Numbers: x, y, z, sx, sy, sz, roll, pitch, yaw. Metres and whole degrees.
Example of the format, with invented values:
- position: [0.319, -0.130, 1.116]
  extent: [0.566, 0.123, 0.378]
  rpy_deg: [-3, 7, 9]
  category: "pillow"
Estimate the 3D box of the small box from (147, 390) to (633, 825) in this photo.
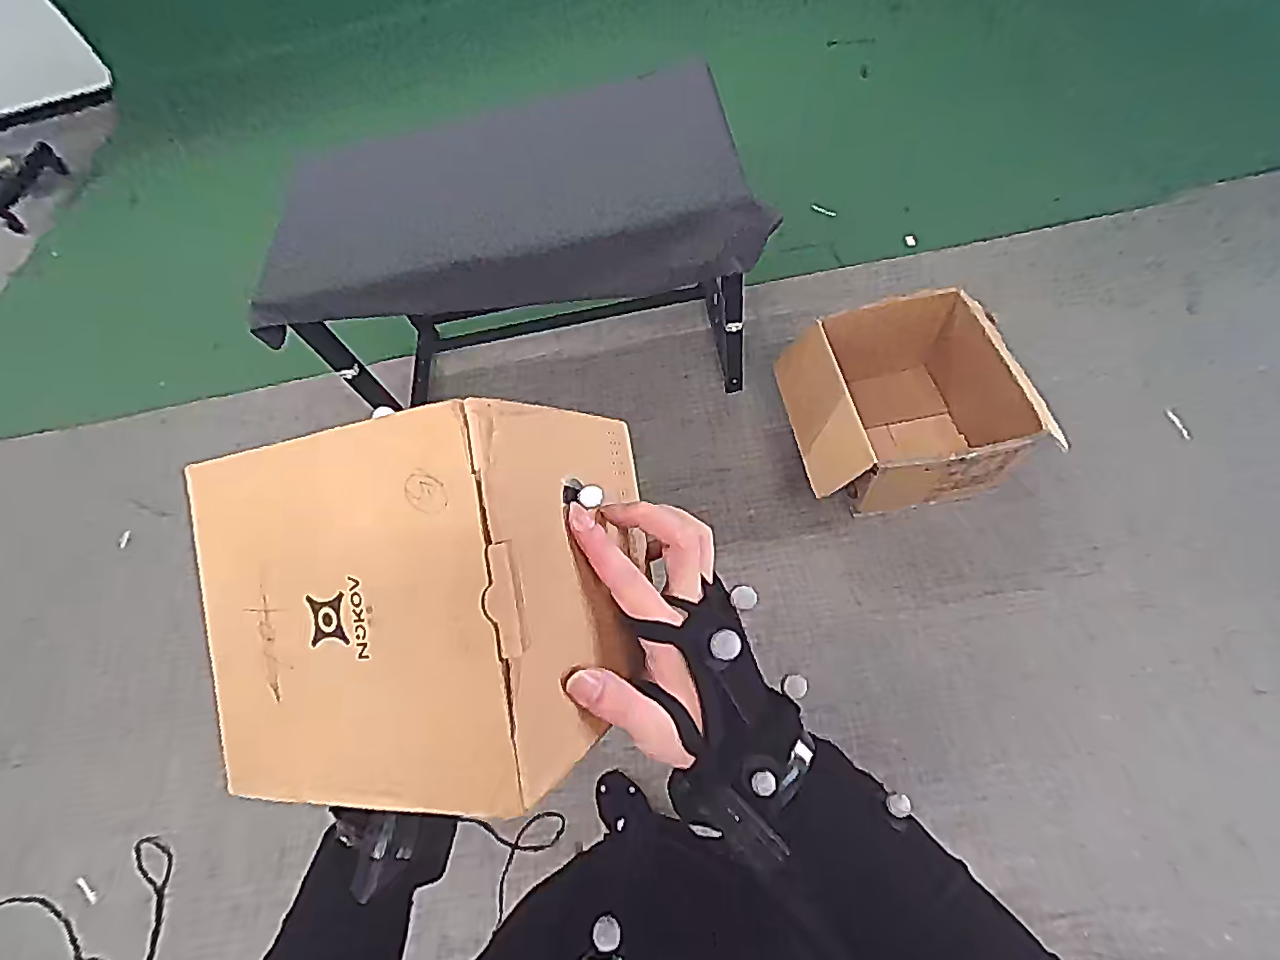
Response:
- position: [-0.114, 0.054, 0.301]
  extent: [0.179, 0.176, 0.168]
  rpy_deg: [-10, 88, 22]
  category: "small box"
